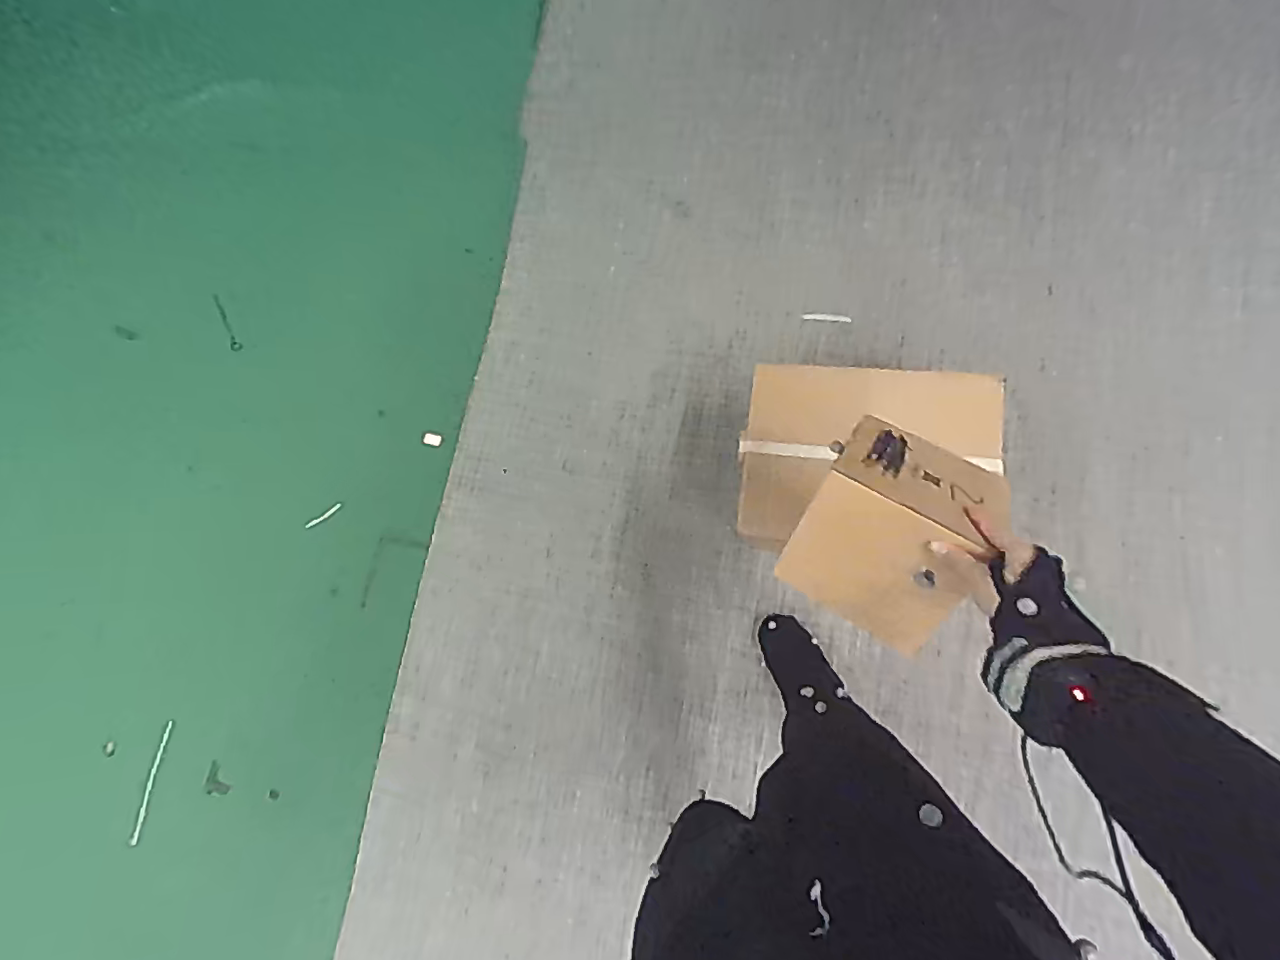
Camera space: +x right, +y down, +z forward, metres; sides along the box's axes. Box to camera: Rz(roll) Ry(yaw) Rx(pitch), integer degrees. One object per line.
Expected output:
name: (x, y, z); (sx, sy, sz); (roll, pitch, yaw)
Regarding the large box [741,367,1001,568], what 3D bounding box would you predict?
large box: (0.410, -0.009, 1.048); (0.408, 0.320, 0.320); (6, 81, 13)
